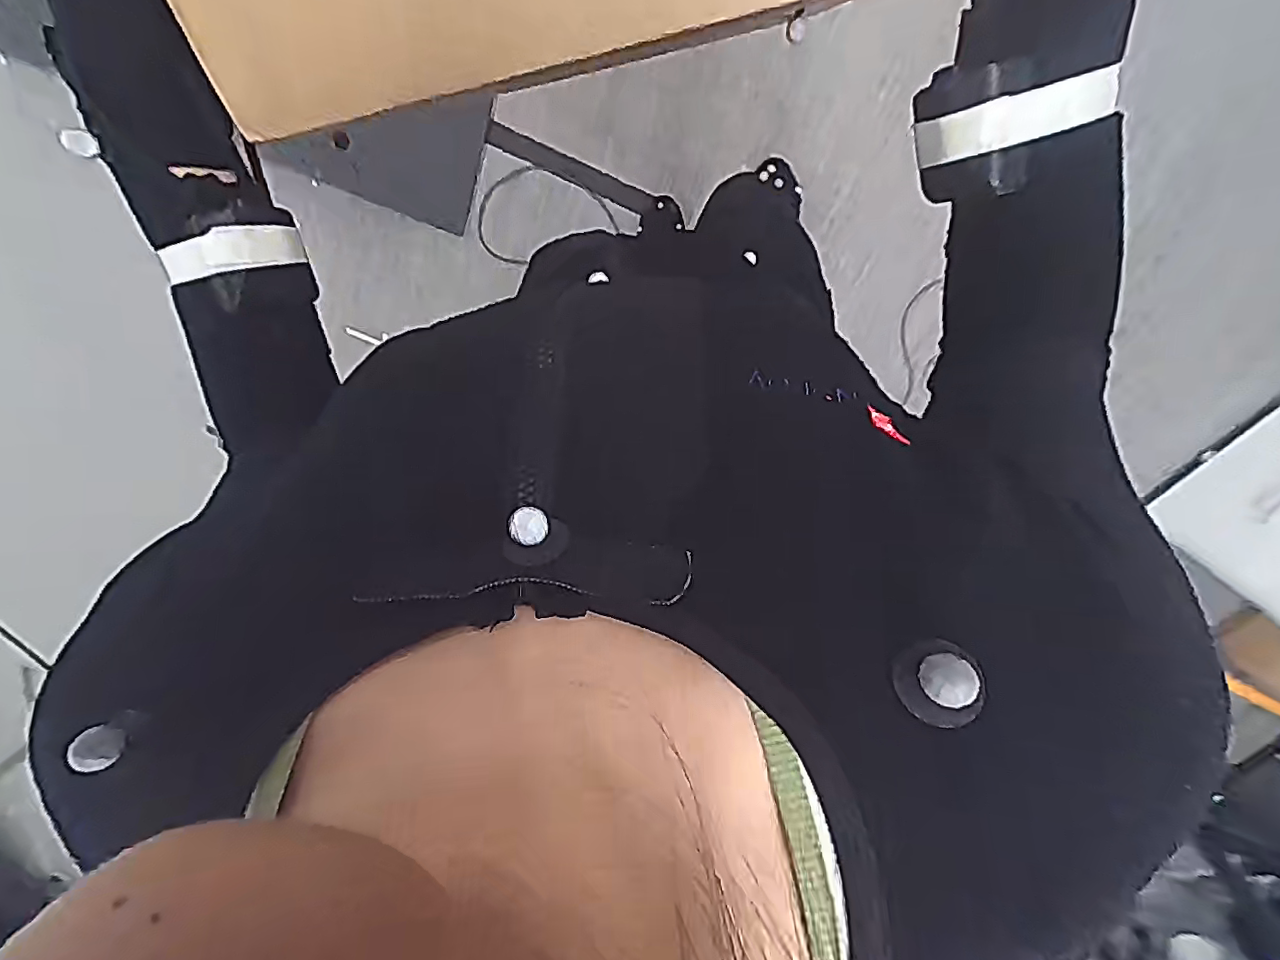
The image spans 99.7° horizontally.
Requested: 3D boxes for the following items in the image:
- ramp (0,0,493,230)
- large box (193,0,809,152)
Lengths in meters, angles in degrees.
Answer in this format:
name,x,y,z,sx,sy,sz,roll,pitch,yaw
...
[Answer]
name,x,y,z,sx,sy,sz,roll,pitch,yaw
ramp,-0.809,-0.959,1.118,0.991,0.206,0.509,21,117,-4
large box,-0.062,-0.447,0.335,0.408,0.320,0.320,-7,126,11
